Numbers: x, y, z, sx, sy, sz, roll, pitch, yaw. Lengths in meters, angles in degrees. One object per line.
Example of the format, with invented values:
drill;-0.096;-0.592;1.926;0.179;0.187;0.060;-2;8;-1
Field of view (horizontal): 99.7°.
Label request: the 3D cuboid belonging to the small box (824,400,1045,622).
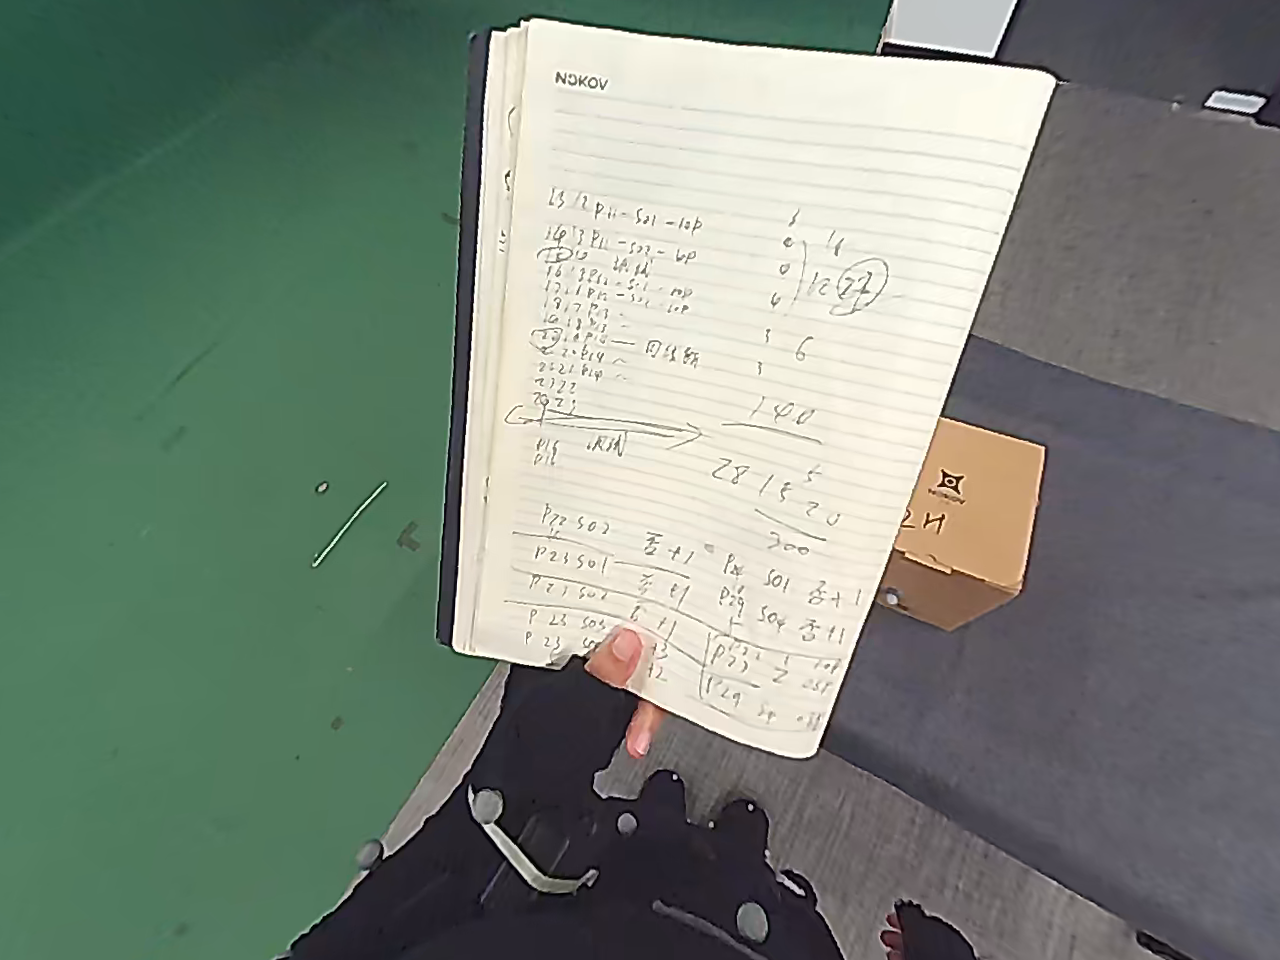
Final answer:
small box;0.331;0.041;0.635;0.168;0.176;0.179;20;67;17
